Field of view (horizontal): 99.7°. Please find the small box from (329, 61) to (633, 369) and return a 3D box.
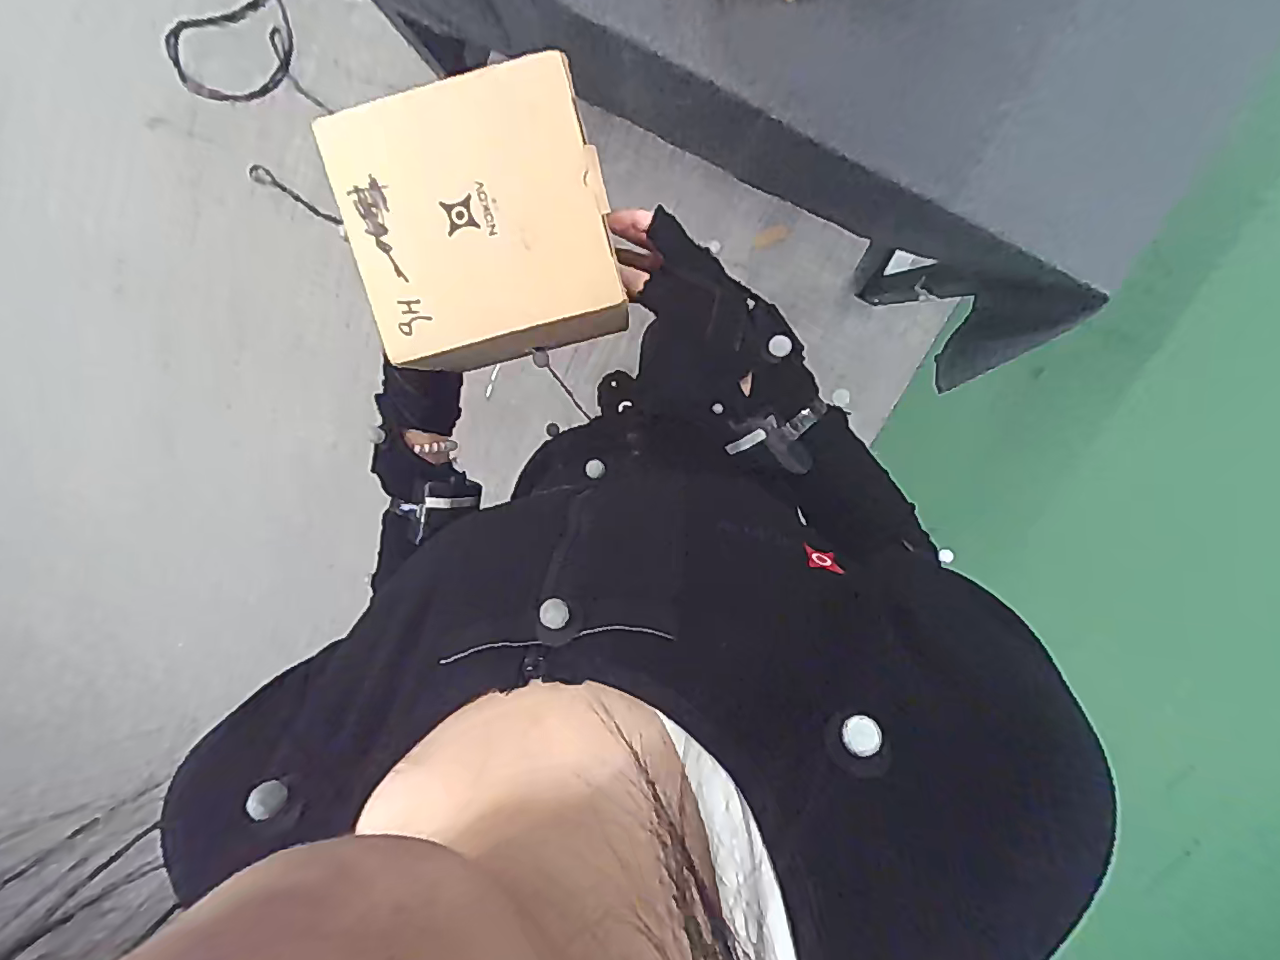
[{"bbox_3d":[-0.110,-0.195,0.451,0.179,0.176,0.168,-14,98,0],"label":"small box"}]
